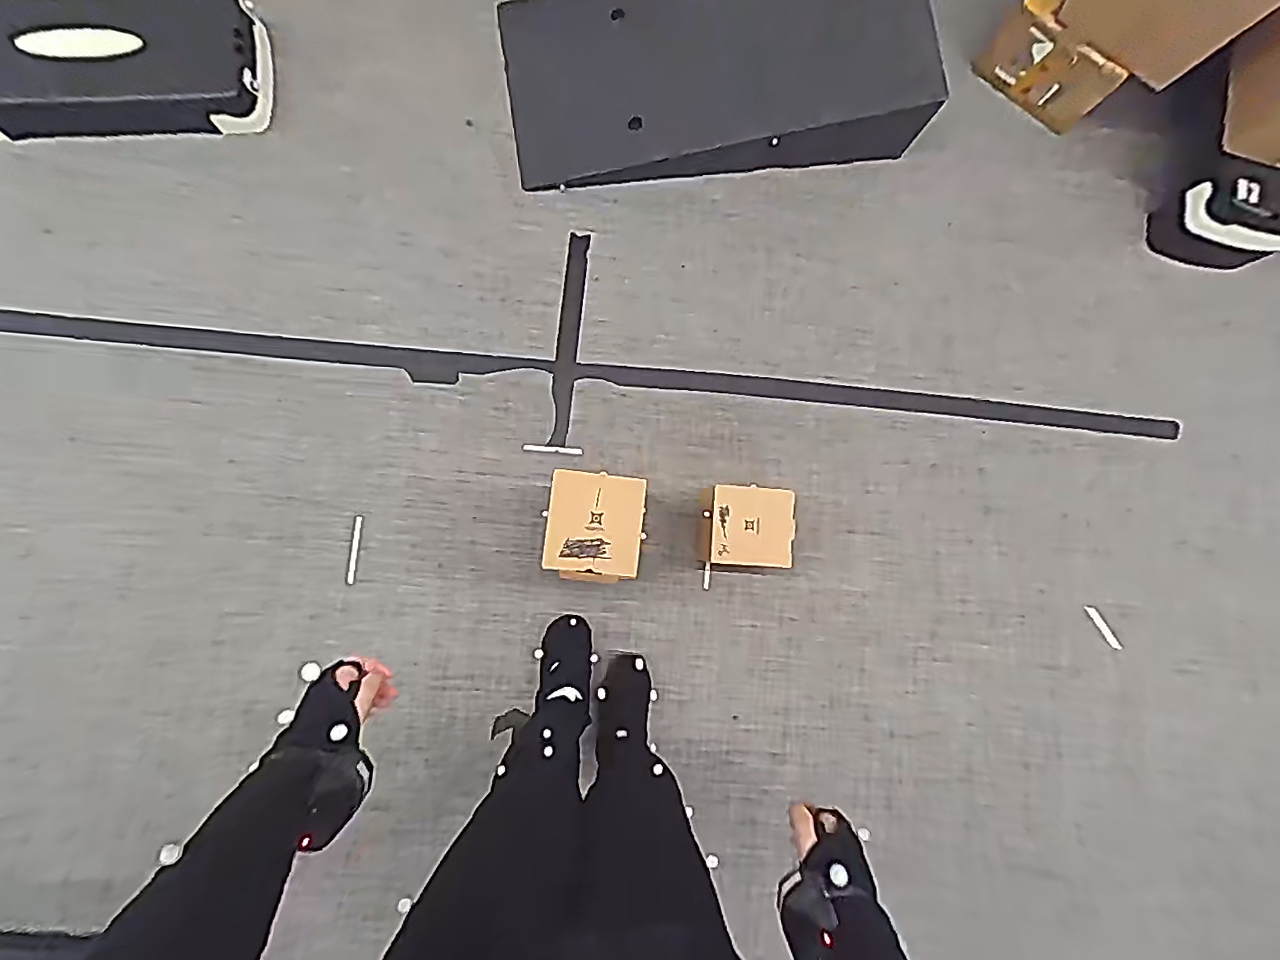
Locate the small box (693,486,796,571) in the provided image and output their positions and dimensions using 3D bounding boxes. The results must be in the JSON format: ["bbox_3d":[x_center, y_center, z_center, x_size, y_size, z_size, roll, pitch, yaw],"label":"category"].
[{"bbox_3d":[0.226,0.106,1.198,0.179,0.176,0.168,5,84,-5],"label":"small box"}]

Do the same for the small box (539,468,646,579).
[{"bbox_3d":[-0.087,0.083,1.006,0.168,0.176,0.179,7,83,-5],"label":"small box"}]
